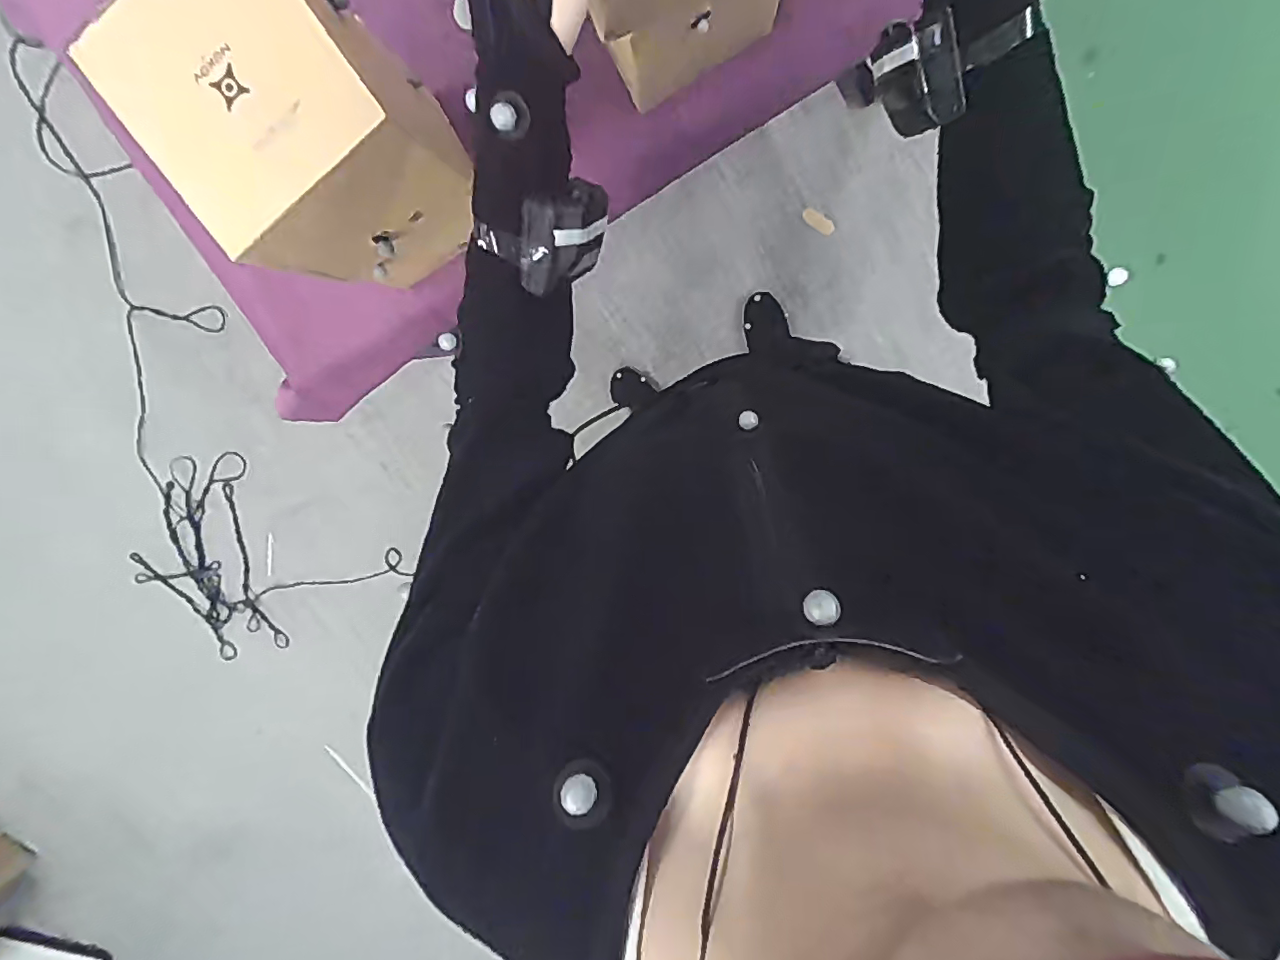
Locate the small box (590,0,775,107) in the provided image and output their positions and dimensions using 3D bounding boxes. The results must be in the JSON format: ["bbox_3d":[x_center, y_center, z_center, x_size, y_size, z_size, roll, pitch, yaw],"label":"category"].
[{"bbox_3d":[0.035,-0.531,0.548,0.179,0.176,0.168,-28,100,9],"label":"small box"}]

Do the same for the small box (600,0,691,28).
[{"bbox_3d":[0.032,-0.395,0.284,0.179,0.176,0.168,-25,109,2],"label":"small box"}]

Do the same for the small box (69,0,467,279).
[{"bbox_3d":[-0.284,-0.296,0.457,0.168,0.176,0.179,-33,99,11],"label":"small box"}]
